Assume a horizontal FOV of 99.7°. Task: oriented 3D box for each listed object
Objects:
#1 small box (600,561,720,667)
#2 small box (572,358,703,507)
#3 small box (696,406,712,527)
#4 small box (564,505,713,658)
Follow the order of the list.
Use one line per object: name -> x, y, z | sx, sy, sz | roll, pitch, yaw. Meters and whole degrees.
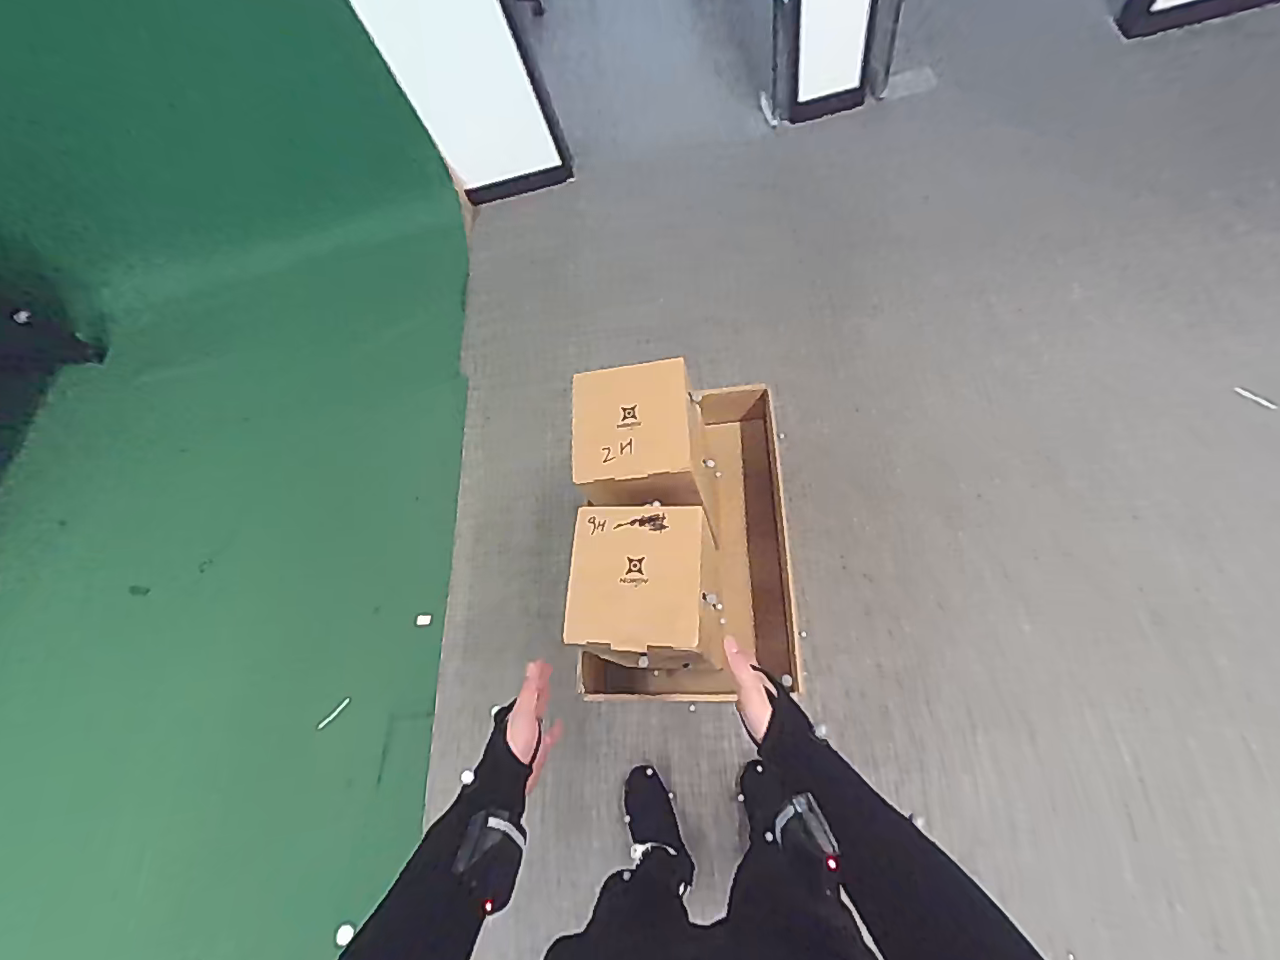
small box -> 0.041, 0.207, 0.882 | 0.168, 0.176, 0.179 | -1, 66, 12
small box -> 0.003, -0.059, 0.825 | 0.168, 0.176, 0.179 | -6, 69, 12
small box -> 0.040, -0.014, 0.981 | 0.168, 0.176, 0.179 | -4, 69, 12
small box -> 0.010, 0.143, 0.734 | 0.168, 0.176, 0.179 | 0, 68, 12
